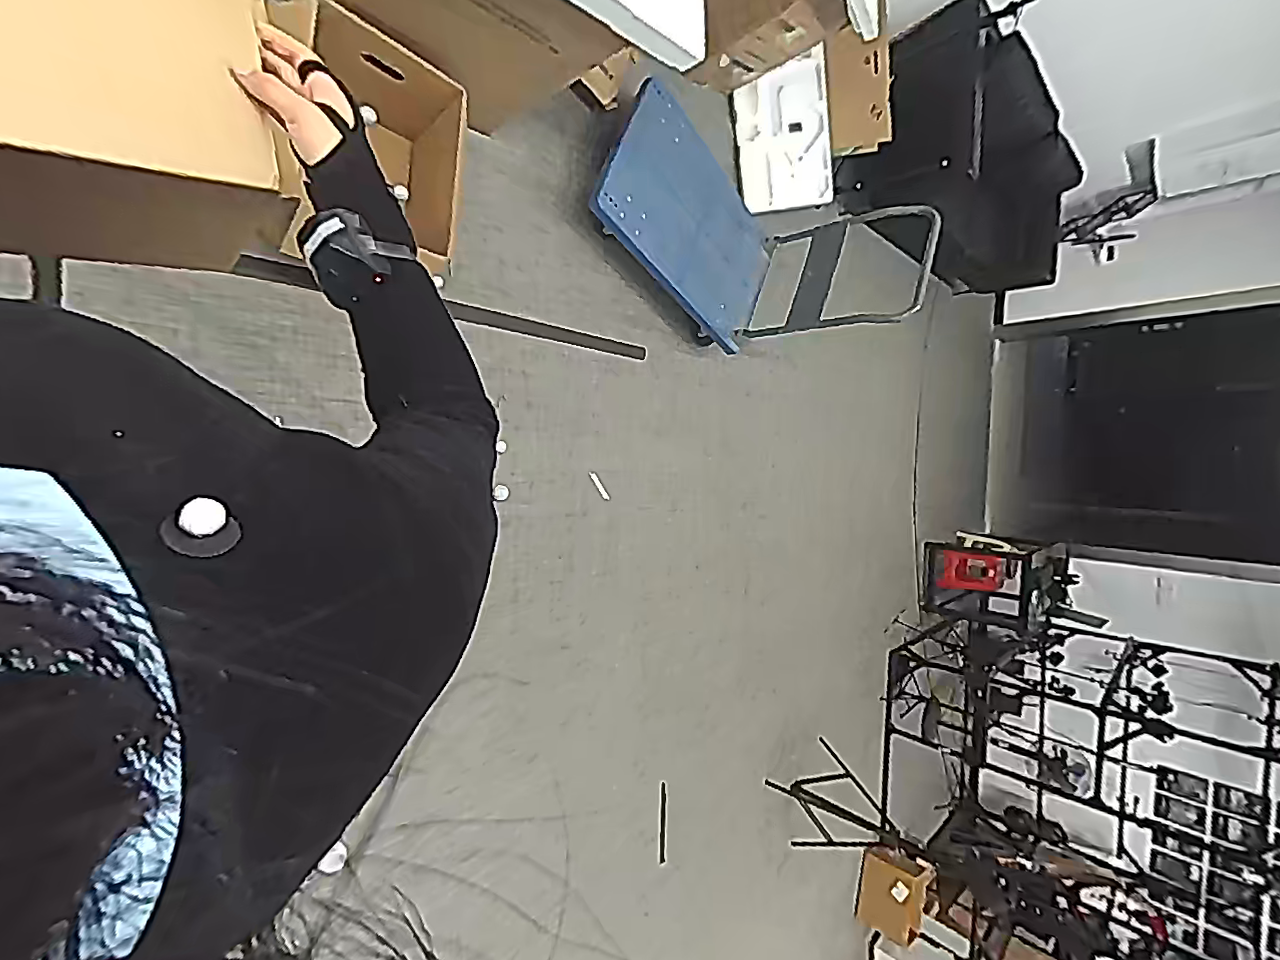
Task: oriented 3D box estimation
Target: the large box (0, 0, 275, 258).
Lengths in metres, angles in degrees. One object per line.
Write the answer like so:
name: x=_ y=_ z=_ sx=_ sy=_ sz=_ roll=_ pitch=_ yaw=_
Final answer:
large box: x=-0.562 y=-0.374 z=0.406 sx=0.408 sy=0.320 sz=0.320 roll=-13 pitch=101 yaw=-42
